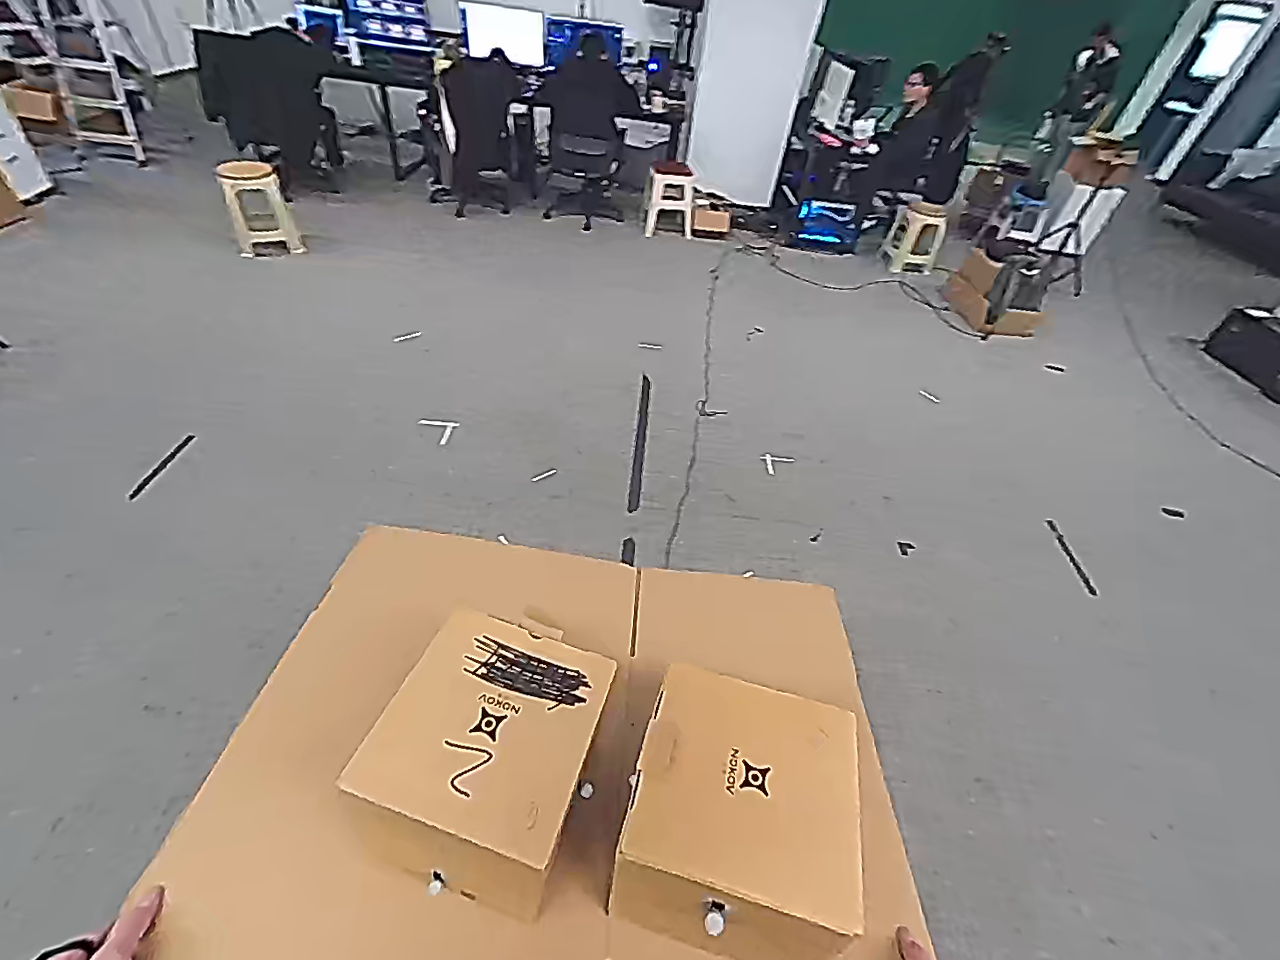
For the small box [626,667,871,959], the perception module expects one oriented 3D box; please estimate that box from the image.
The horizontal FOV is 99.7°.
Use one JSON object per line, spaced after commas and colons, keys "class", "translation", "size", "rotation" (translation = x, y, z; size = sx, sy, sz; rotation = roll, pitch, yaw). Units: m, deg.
{"class": "small box", "translation": [0.094, 0.308, 0.497], "size": [0.179, 0.176, 0.168], "rotation": [12, 40, 11]}
